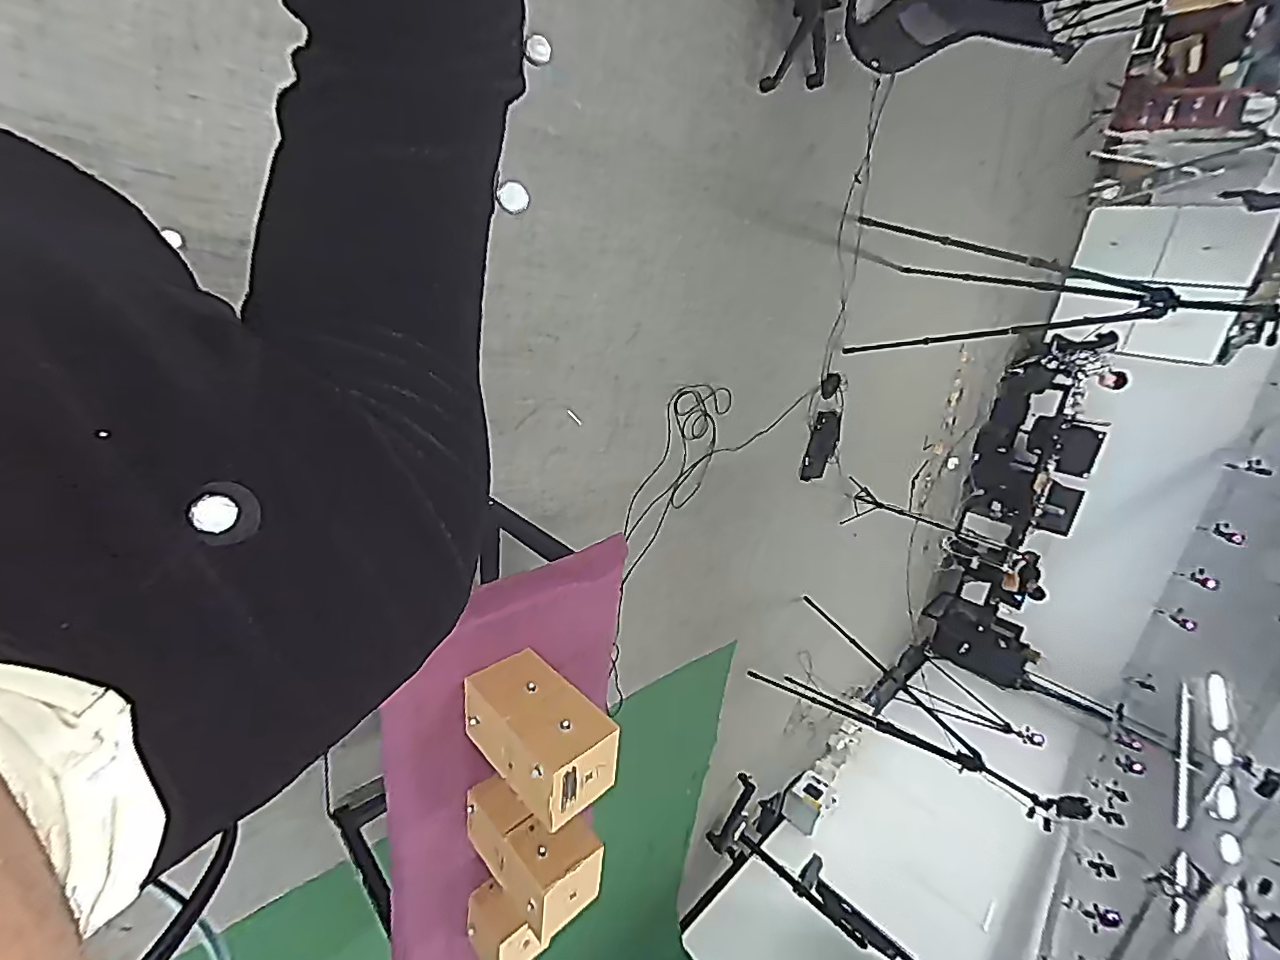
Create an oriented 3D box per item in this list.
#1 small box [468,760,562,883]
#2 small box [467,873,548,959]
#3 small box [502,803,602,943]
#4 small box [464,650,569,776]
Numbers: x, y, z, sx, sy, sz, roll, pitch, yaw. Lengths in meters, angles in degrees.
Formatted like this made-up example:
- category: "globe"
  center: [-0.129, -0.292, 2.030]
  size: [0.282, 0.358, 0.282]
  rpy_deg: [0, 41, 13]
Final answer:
- category: "small box"
  center: [-0.321, 0.848, 1.369]
  size: [0.179, 0.176, 0.168]
  rpy_deg: [-14, 118, -44]
- category: "small box"
  center: [-0.365, 1.215, 1.496]
  size: [0.168, 0.176, 0.179]
  rpy_deg: [-12, 116, -44]
- category: "small box"
  center: [-0.209, 0.899, 1.262]
  size: [0.168, 0.176, 0.179]
  rpy_deg: [-13, 118, -43]
- category: "small box"
  center: [-0.286, 0.525, 1.249]
  size: [0.179, 0.176, 0.168]
  rpy_deg: [-15, 119, -43]
